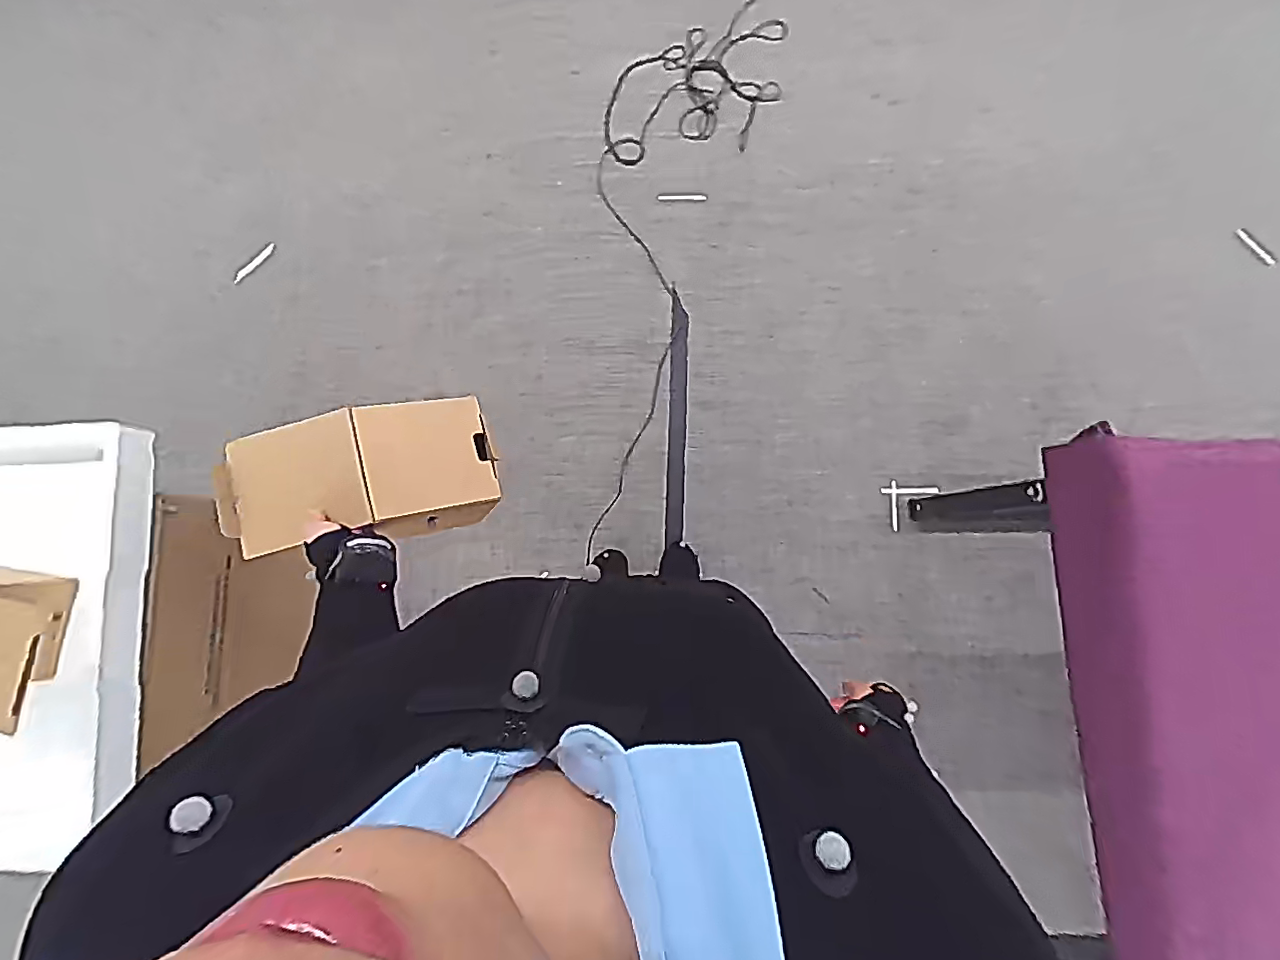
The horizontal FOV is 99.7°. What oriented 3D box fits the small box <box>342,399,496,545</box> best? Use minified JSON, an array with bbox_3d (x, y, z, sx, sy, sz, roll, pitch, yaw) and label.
[{"bbox_3d":[-0.336,-0.008,0.818,0.179,0.176,0.168,-11,80,-30],"label":"small box"}]
